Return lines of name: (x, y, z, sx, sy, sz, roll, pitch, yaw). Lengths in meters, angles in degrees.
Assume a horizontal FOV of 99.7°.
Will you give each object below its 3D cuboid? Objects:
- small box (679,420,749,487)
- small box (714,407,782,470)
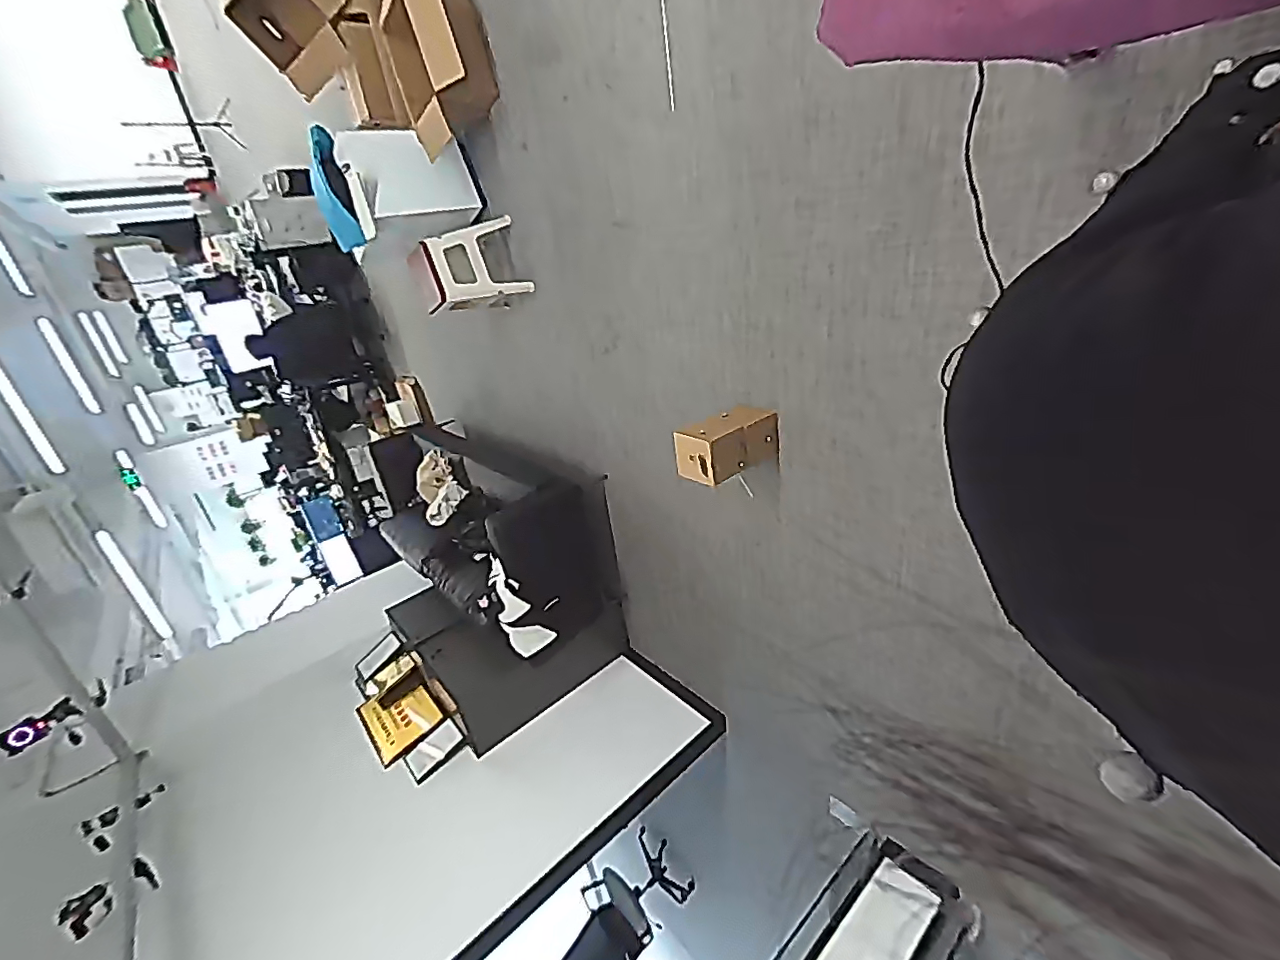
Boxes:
small box: (0.261, -0.097, 1.865, 0.179, 0.176, 0.168, 21, 128, 47)
small box: (0.389, -0.157, 1.949, 0.179, 0.176, 0.168, 21, 129, 46)
